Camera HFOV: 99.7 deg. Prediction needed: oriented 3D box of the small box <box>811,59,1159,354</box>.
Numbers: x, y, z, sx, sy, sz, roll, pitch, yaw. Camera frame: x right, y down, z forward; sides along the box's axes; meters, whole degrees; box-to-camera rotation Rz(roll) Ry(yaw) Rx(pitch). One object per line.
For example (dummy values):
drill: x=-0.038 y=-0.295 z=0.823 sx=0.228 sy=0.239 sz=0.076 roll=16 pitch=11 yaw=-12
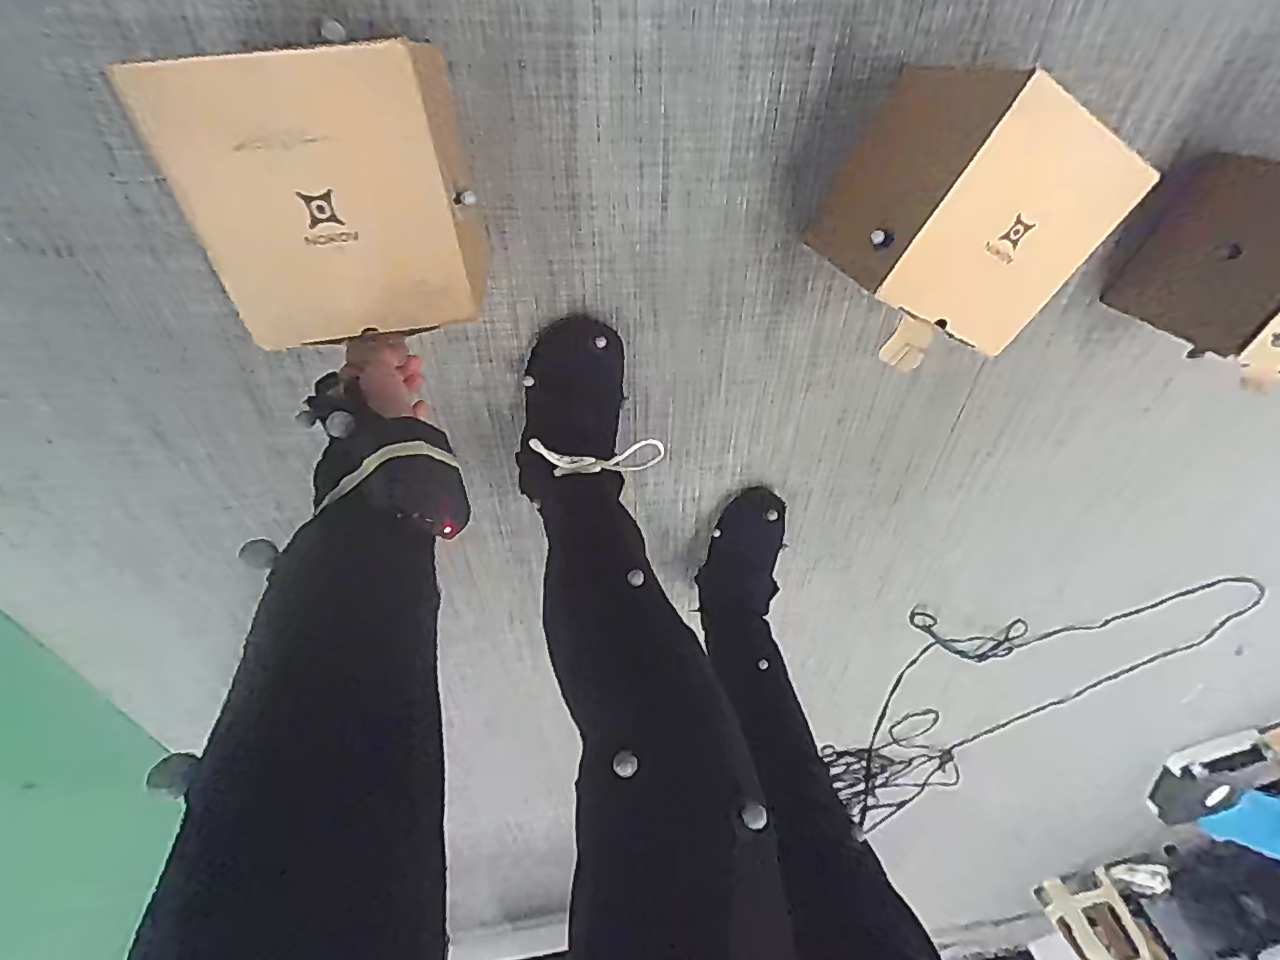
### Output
small box: x=0.293 y=-0.253 z=0.502 sx=0.168 sy=0.176 sz=0.179 roll=16 pitch=125 yaw=-23

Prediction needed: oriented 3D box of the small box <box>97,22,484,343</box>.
small box: x=-0.223 y=-0.227 z=0.414 sx=0.168 sy=0.176 sz=0.179 roll=-10 pitch=127 yaw=-6
